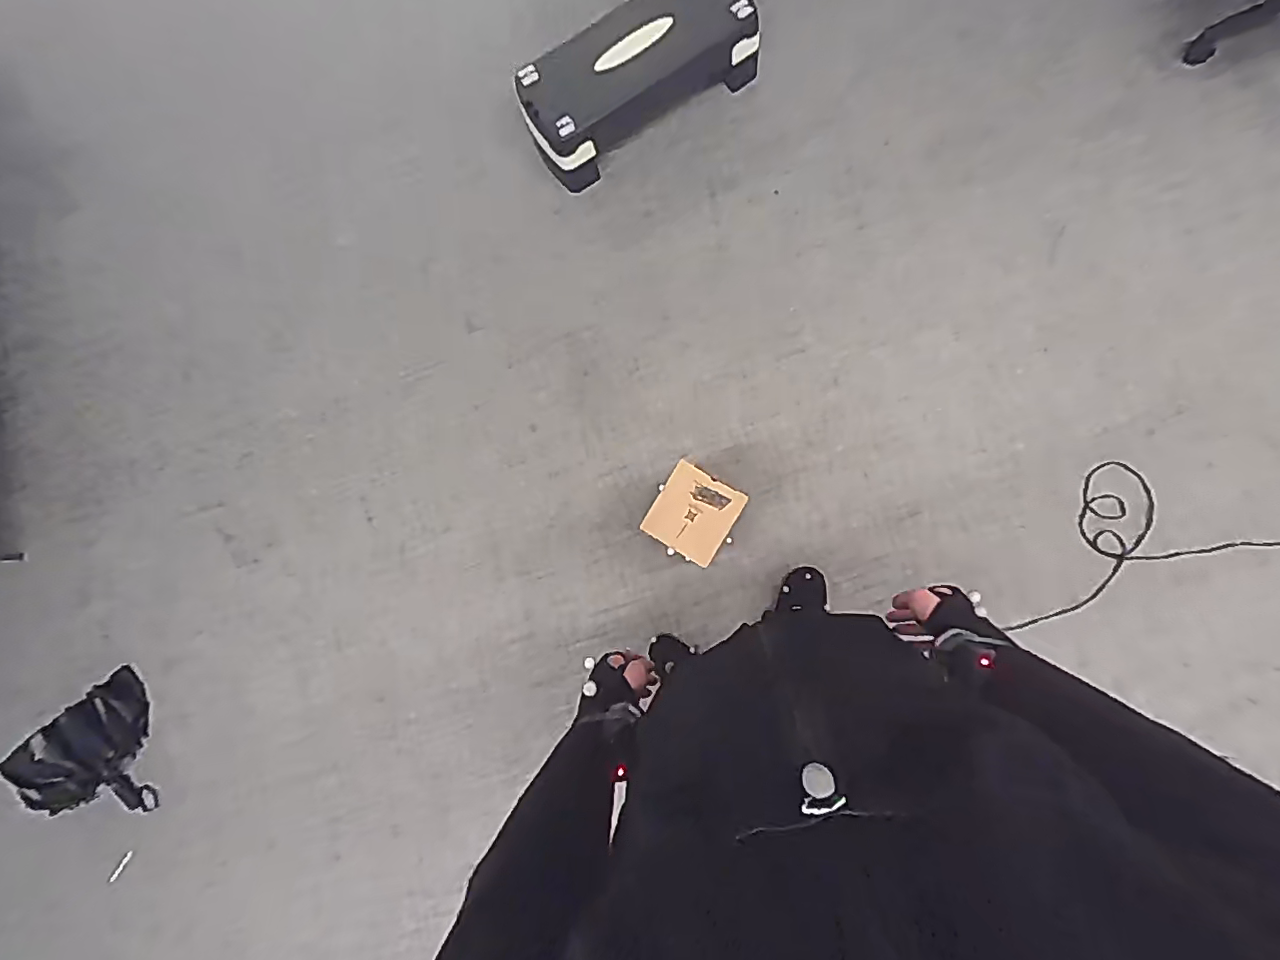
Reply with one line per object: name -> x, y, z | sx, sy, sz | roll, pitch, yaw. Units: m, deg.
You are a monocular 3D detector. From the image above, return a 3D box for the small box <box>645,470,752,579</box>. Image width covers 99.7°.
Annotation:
small box -> 0.131, 0.101, 1.207 | 0.168, 0.176, 0.179 | 31, 87, 12
